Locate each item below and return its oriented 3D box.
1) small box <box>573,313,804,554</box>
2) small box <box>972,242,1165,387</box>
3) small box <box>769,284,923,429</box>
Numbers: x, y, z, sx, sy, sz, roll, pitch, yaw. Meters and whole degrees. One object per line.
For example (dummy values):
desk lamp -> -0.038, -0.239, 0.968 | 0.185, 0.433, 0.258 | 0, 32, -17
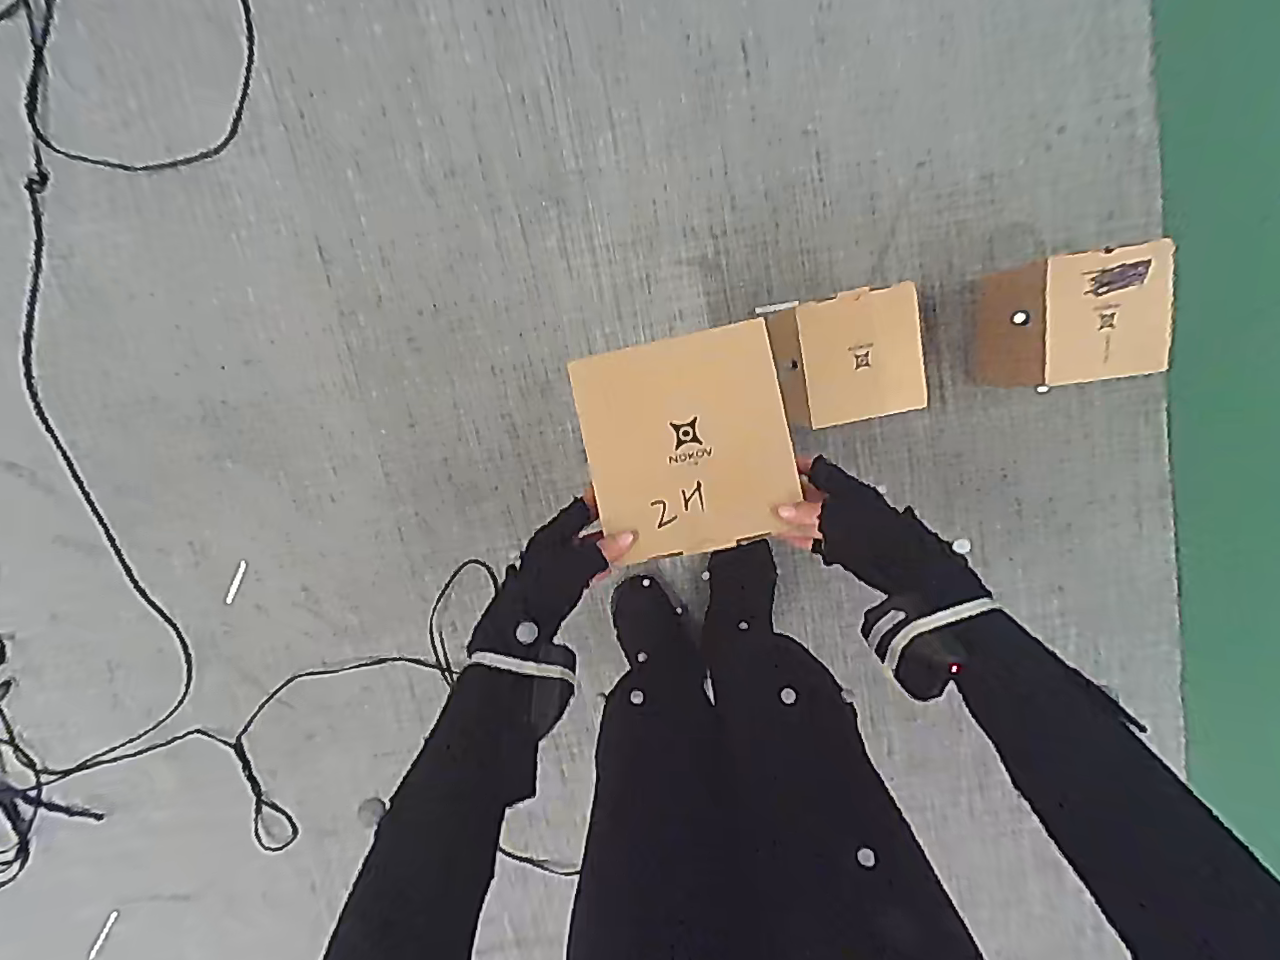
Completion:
small box -> 0.042, -0.038, 0.528 | 0.168, 0.176, 0.179 | -13, 90, 3
small box -> 0.628, -0.237, 0.814 | 0.168, 0.176, 0.179 | -7, 100, 3
small box -> 0.306, -0.183, 0.832 | 0.168, 0.176, 0.179 | -11, 98, 3
